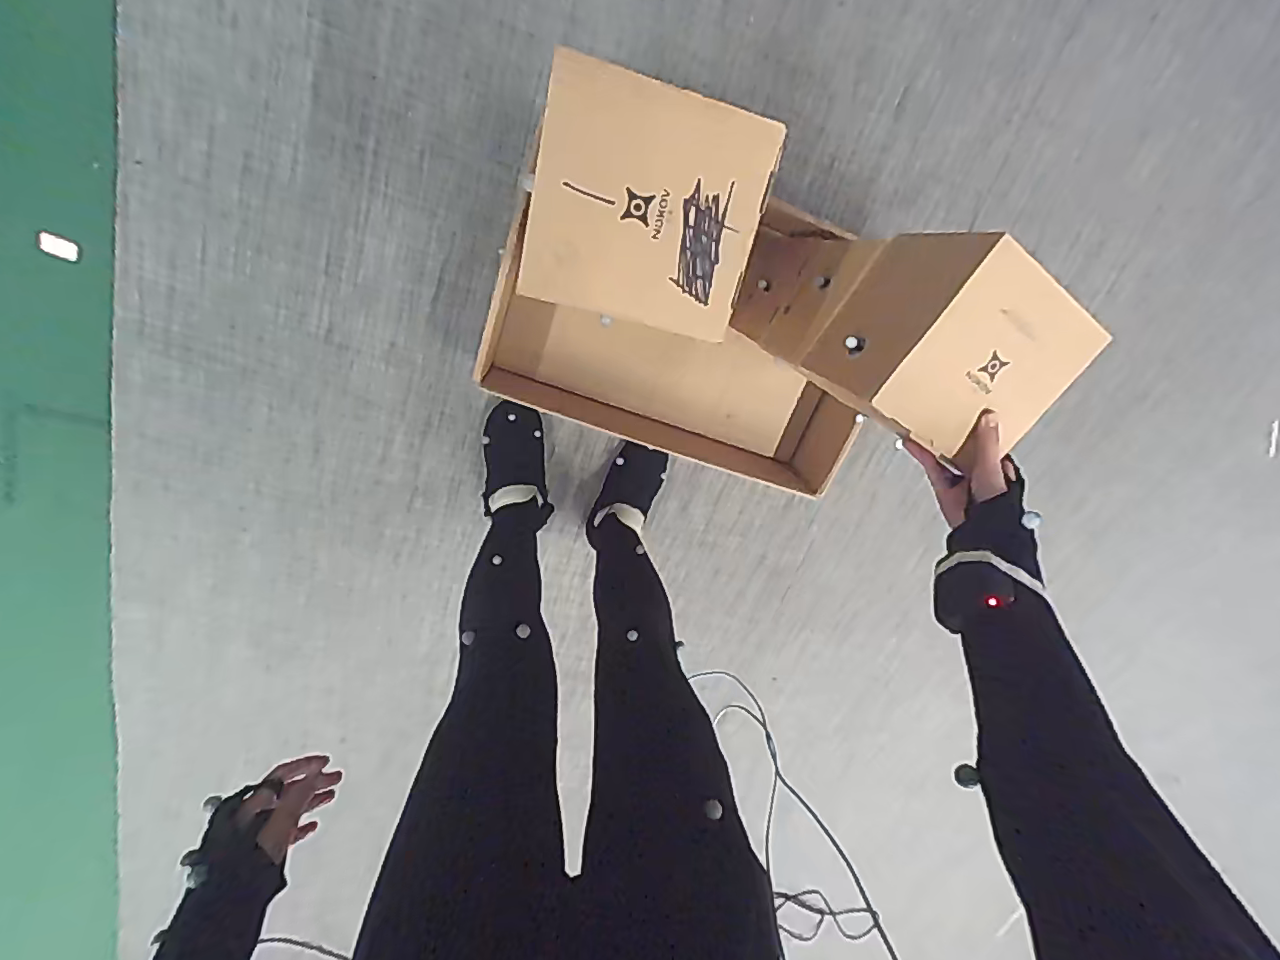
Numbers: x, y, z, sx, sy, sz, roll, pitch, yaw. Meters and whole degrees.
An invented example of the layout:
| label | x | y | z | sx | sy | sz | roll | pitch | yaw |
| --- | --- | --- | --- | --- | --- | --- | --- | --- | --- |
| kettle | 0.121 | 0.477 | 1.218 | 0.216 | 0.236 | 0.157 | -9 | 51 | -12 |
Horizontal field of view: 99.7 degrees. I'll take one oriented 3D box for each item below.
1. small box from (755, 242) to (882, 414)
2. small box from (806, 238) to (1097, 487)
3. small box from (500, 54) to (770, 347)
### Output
| label | x | y | z | sx | sy | sz | roll | pitch | yaw |
| --- | --- | --- | --- | --- | --- | --- | --- | --- | --- |
| small box | 0.282 | -0.192 | 0.721 | 0.179 | 0.176 | 0.168 | 28 | 108 | -17 |
| small box | 0.302 | -0.129 | 0.572 | 0.168 | 0.176 | 0.179 | 30 | 107 | -19 |
| small box | -0.014 | -0.232 | 0.482 | 0.179 | 0.176 | 0.168 | 11 | 111 | -10 |
